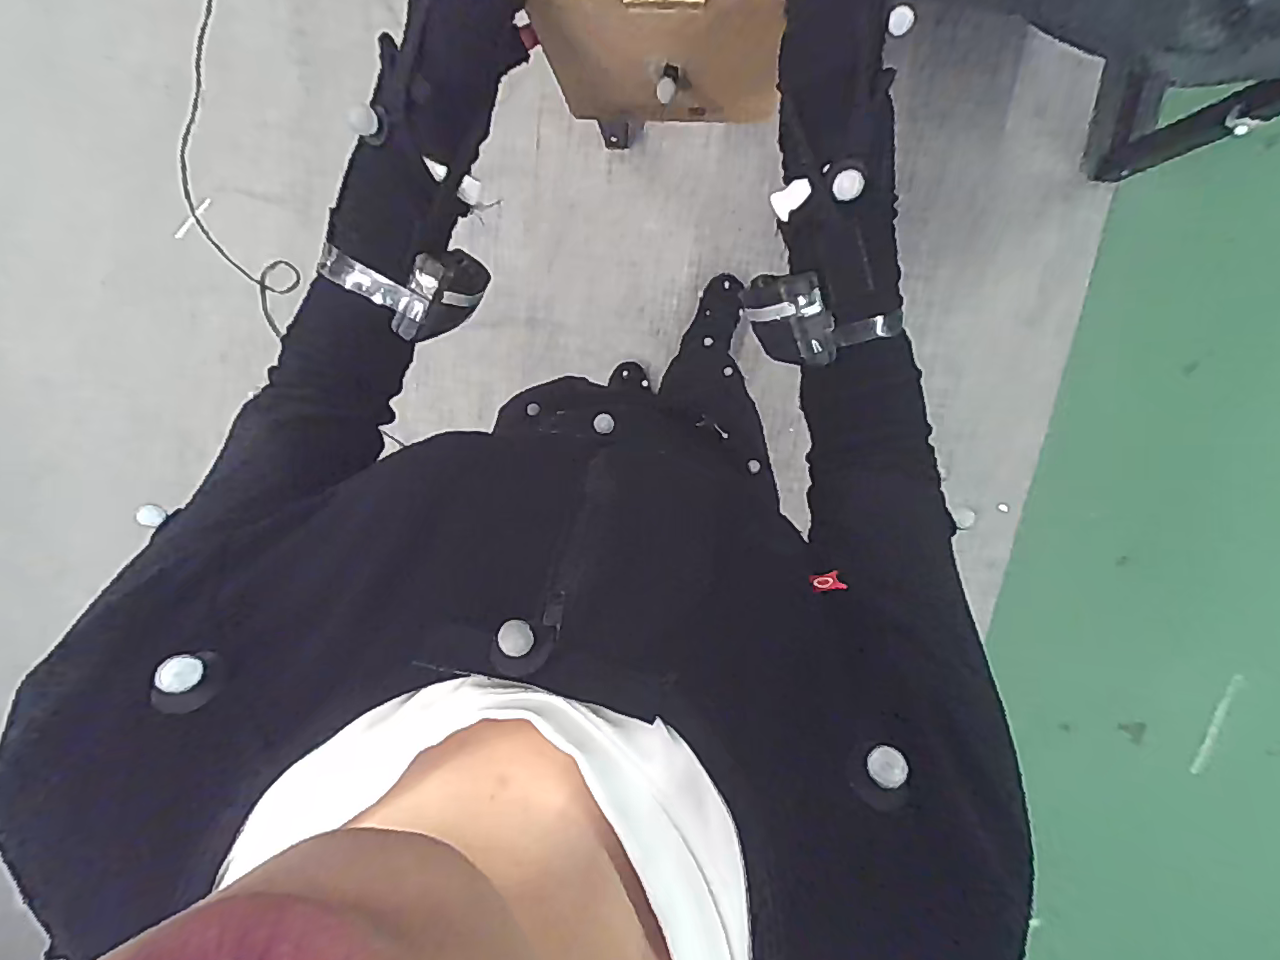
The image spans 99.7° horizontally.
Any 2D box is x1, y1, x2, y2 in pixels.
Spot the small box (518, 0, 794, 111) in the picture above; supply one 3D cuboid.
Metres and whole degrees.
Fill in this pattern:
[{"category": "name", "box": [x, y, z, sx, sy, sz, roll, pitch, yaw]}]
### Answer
[{"category": "small box", "box": [0.021, -0.371, 0.355, 0.168, 0.176, 0.179, 4, 103, 5]}]
